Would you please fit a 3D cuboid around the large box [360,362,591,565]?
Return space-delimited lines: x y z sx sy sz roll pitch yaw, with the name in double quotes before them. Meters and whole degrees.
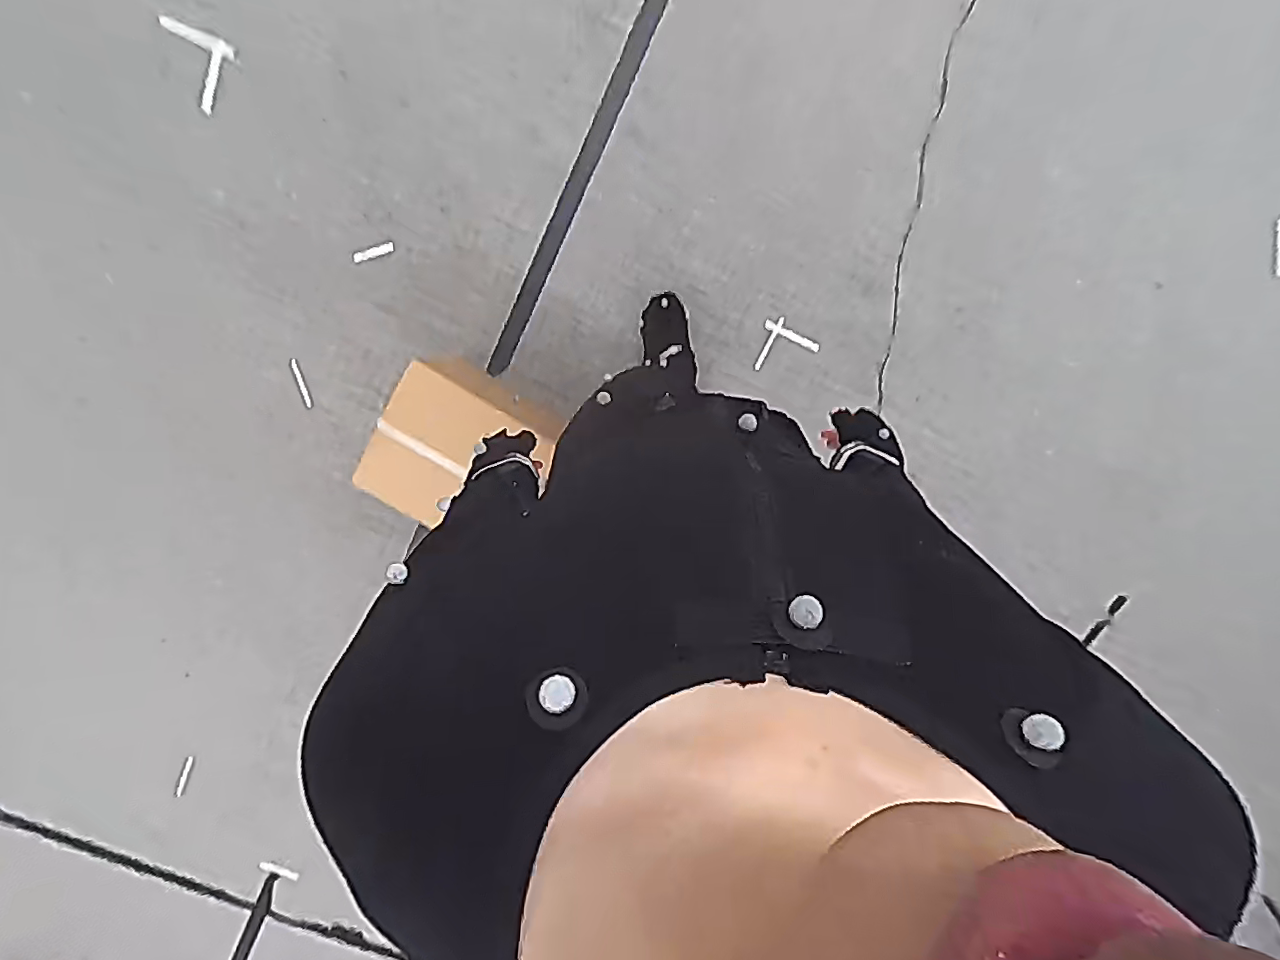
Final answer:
"large box" -0.375 -0.060 1.326 0.408 0.320 0.320 30 102 -7
